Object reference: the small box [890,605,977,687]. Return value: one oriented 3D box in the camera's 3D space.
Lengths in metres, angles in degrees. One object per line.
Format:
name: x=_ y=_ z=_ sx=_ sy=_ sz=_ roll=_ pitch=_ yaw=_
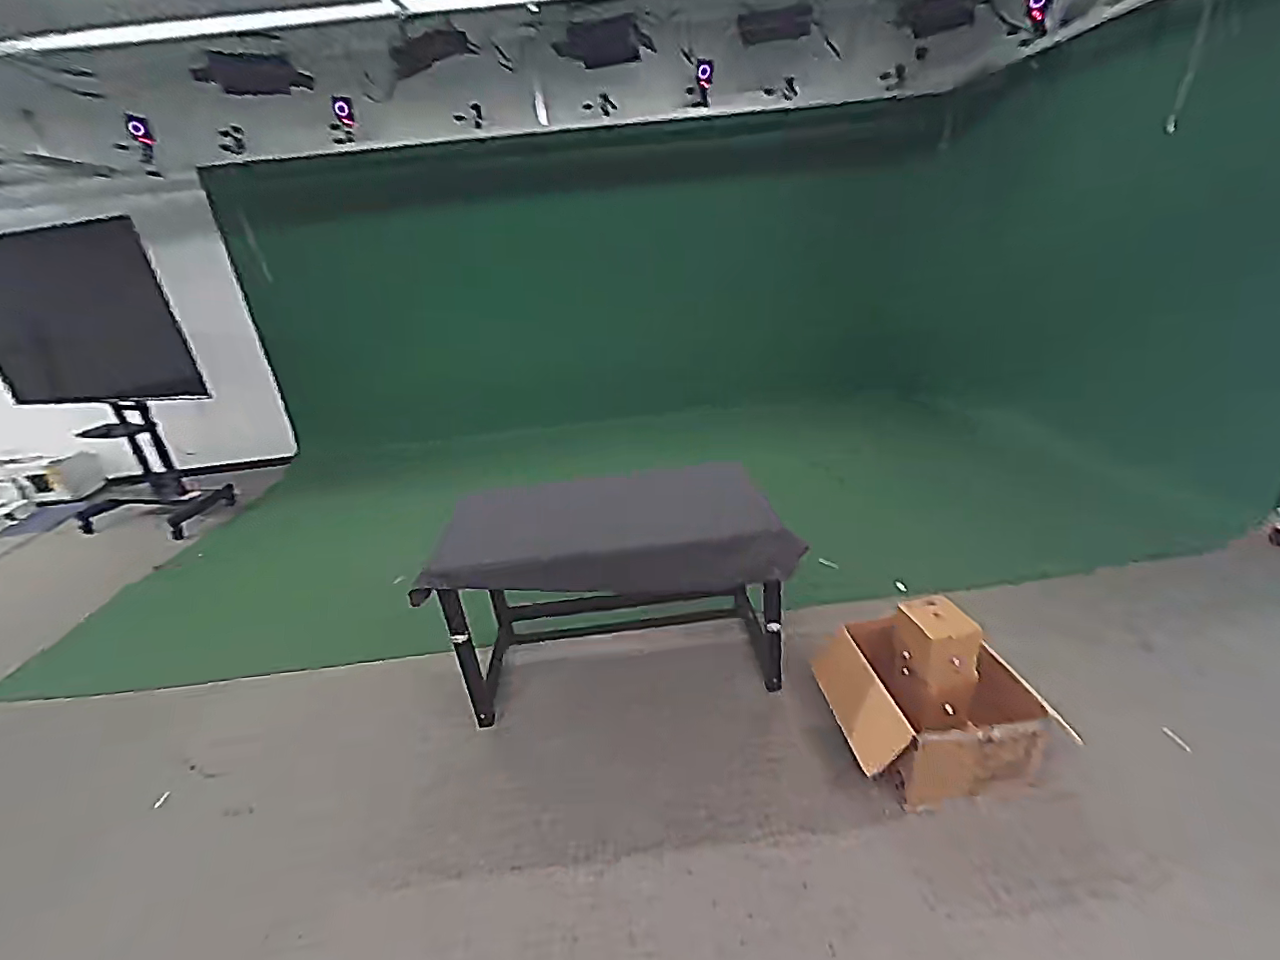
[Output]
small box: x=0.908 y=0.524 z=1.688 sx=0.168 sy=0.176 sz=0.179 roll=-9 pitch=23 yaw=-8
